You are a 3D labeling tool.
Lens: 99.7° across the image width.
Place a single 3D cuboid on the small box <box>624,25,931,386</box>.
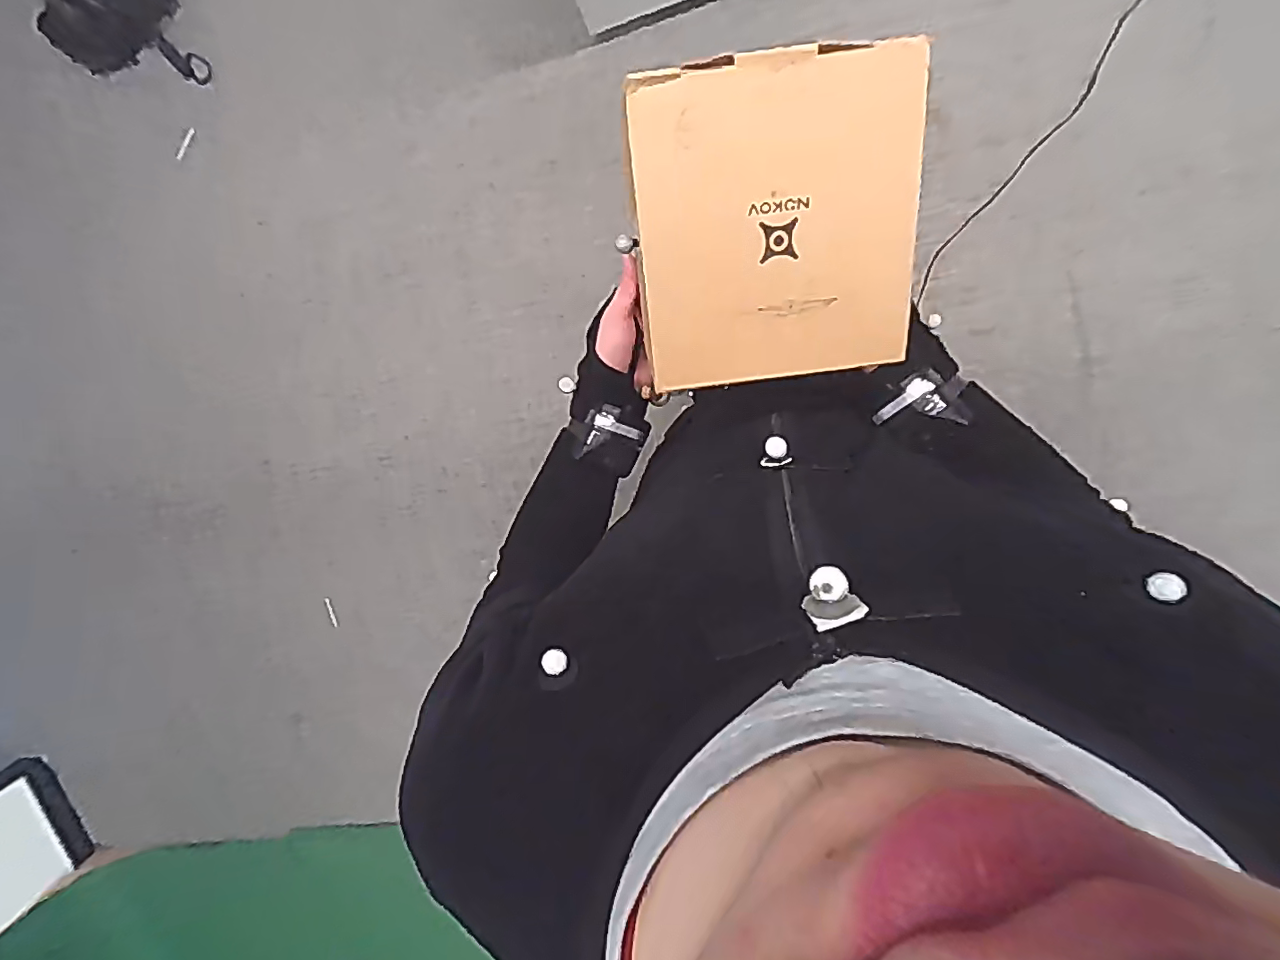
[{"bbox_3d":[0.081,-0.181,0.391,0.168,0.176,0.179,-8,114,2],"label":"small box"}]
